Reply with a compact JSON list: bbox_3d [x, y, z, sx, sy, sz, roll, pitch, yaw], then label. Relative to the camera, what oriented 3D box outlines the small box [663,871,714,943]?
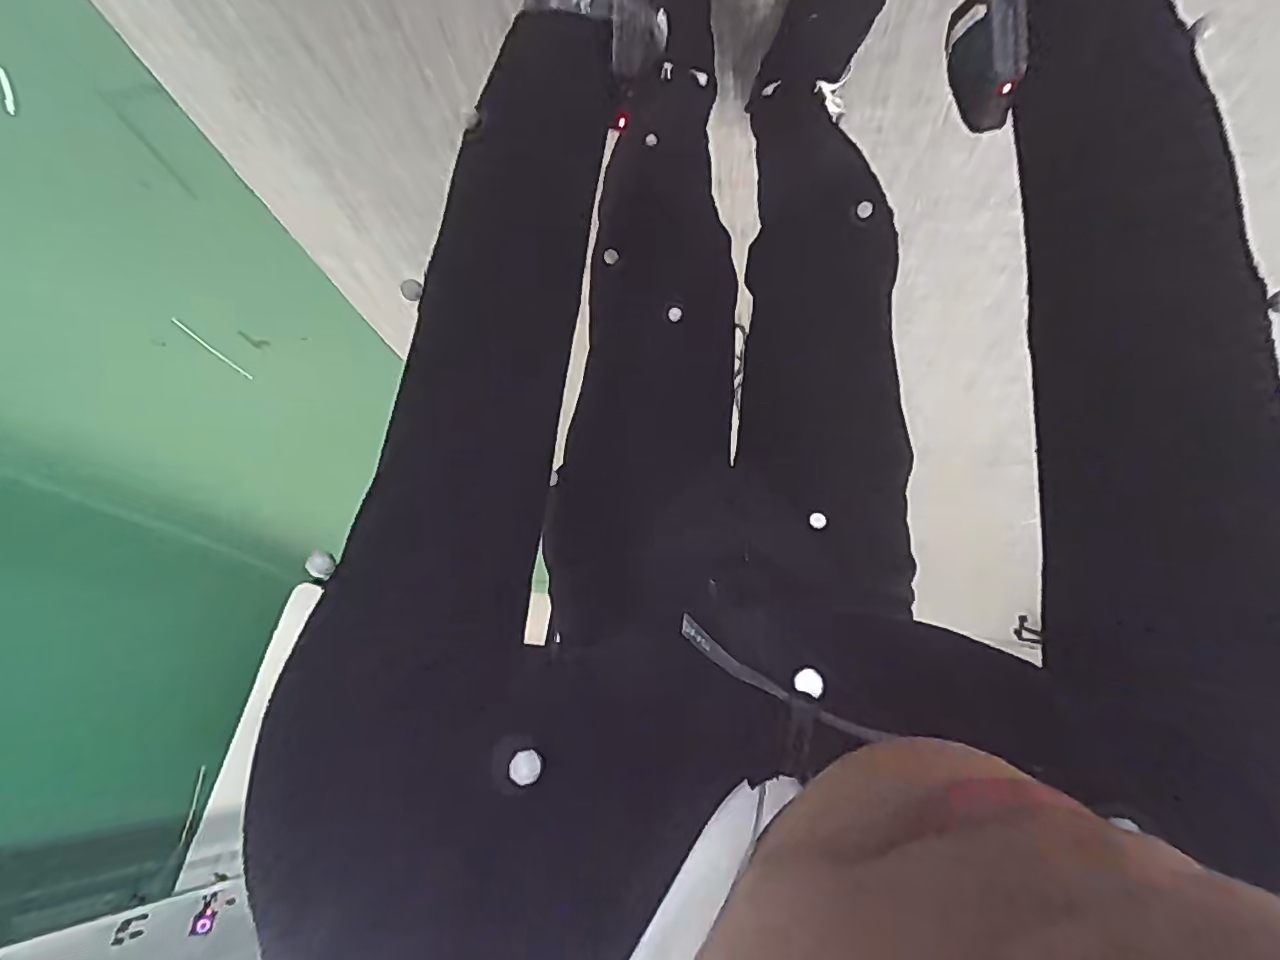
[{"bbox_3d":[0.192,1.645,2.092,0.179,0.176,0.168,2,155,14],"label":"small box"}]
